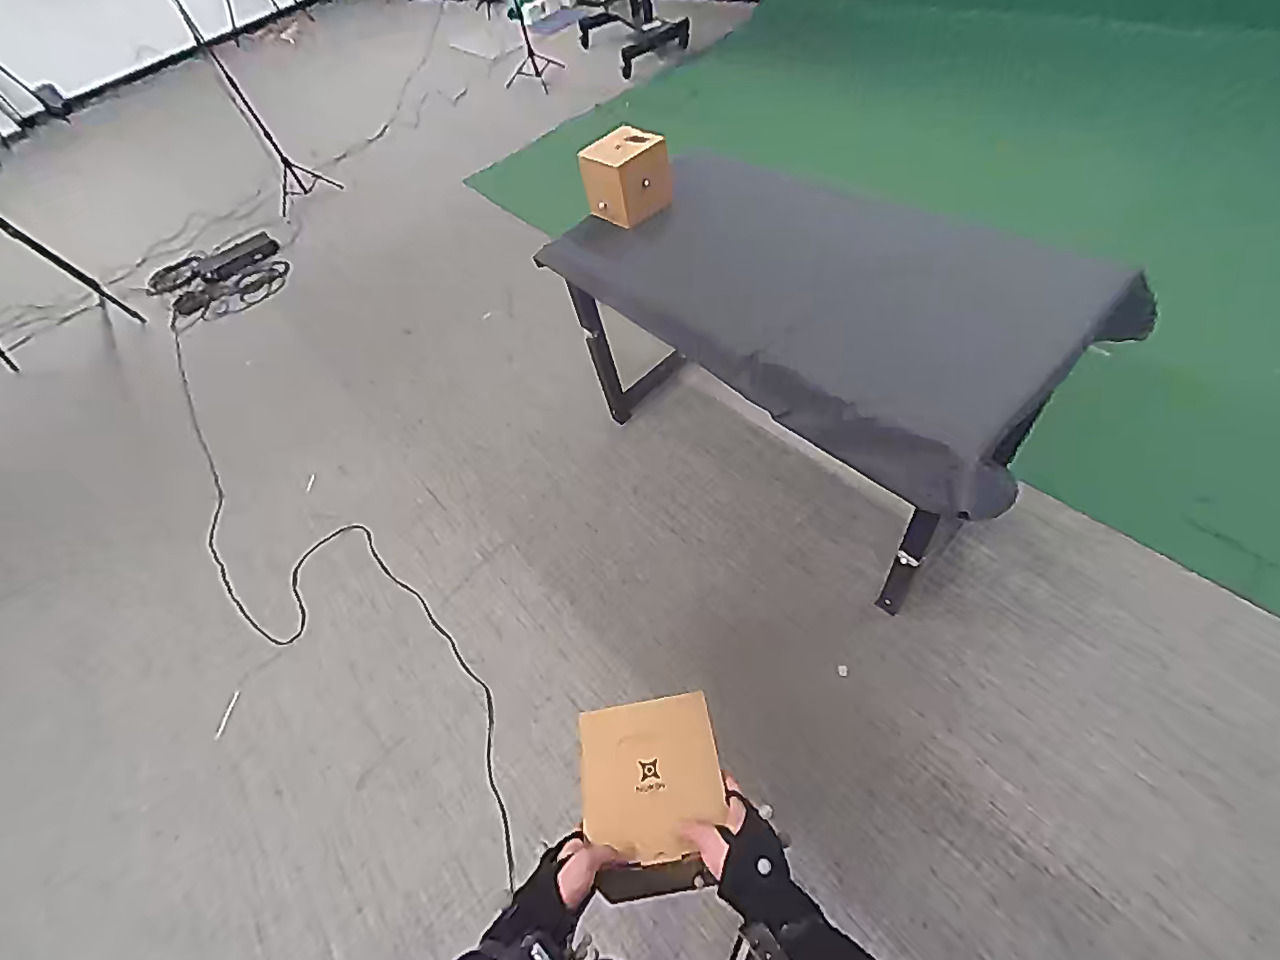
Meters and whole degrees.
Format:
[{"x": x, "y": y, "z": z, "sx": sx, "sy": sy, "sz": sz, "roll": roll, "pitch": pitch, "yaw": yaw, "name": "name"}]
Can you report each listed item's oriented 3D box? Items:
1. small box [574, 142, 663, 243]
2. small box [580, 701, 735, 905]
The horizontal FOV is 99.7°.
[{"x": -0.052, "y": -0.793, "z": 1.494, "sx": 0.179, "sy": 0.176, "sz": 0.168, "roll": -42, "pitch": 57, "yaw": -18, "name": "small box"}, {"x": 0.023, "y": 0.416, "z": 0.692, "sx": 0.168, "sy": 0.176, "sz": 0.179, "roll": -10, "pitch": 42, "yaw": -2, "name": "small box"}]
